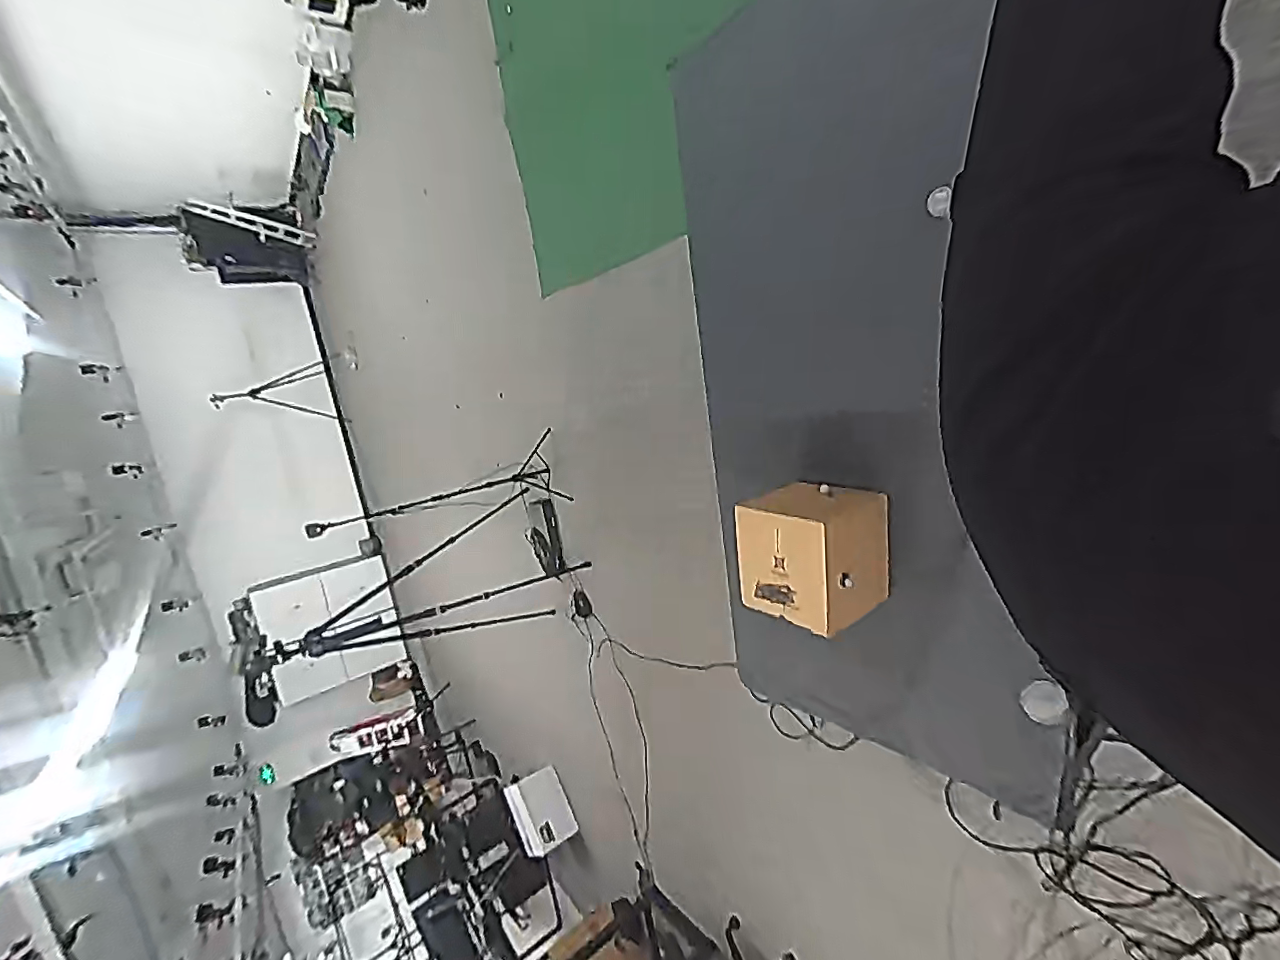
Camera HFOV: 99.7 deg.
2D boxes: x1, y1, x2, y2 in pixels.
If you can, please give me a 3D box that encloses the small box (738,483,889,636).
[{"bbox_3d":[0.277,0.114,0.856,0.168,0.176,0.179,9,110,51],"label":"small box"}]
